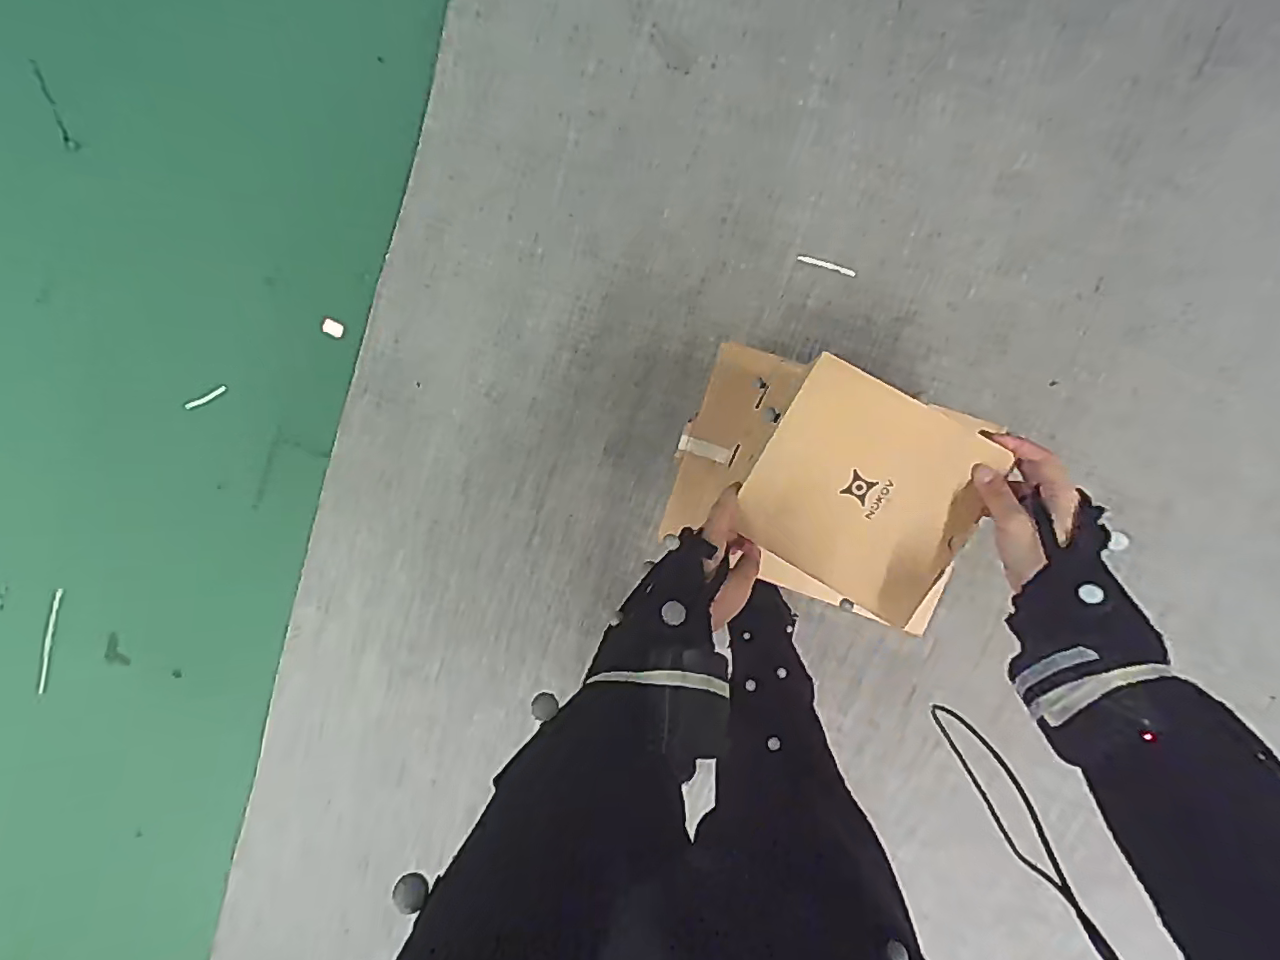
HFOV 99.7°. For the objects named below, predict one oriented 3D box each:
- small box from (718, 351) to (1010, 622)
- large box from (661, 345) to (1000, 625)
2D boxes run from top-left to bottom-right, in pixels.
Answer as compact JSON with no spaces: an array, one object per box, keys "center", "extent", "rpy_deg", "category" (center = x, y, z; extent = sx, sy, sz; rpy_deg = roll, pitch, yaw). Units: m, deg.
[{"center":[0.189,0.002,0.519],"extent":[0.179,0.176,0.168],"rpy_deg":[30,98,4],"category":"small box"},{"center":[0.278,-0.006,0.918],"extent":[0.408,0.320,0.320],"rpy_deg":[18,98,6],"category":"large box"}]
